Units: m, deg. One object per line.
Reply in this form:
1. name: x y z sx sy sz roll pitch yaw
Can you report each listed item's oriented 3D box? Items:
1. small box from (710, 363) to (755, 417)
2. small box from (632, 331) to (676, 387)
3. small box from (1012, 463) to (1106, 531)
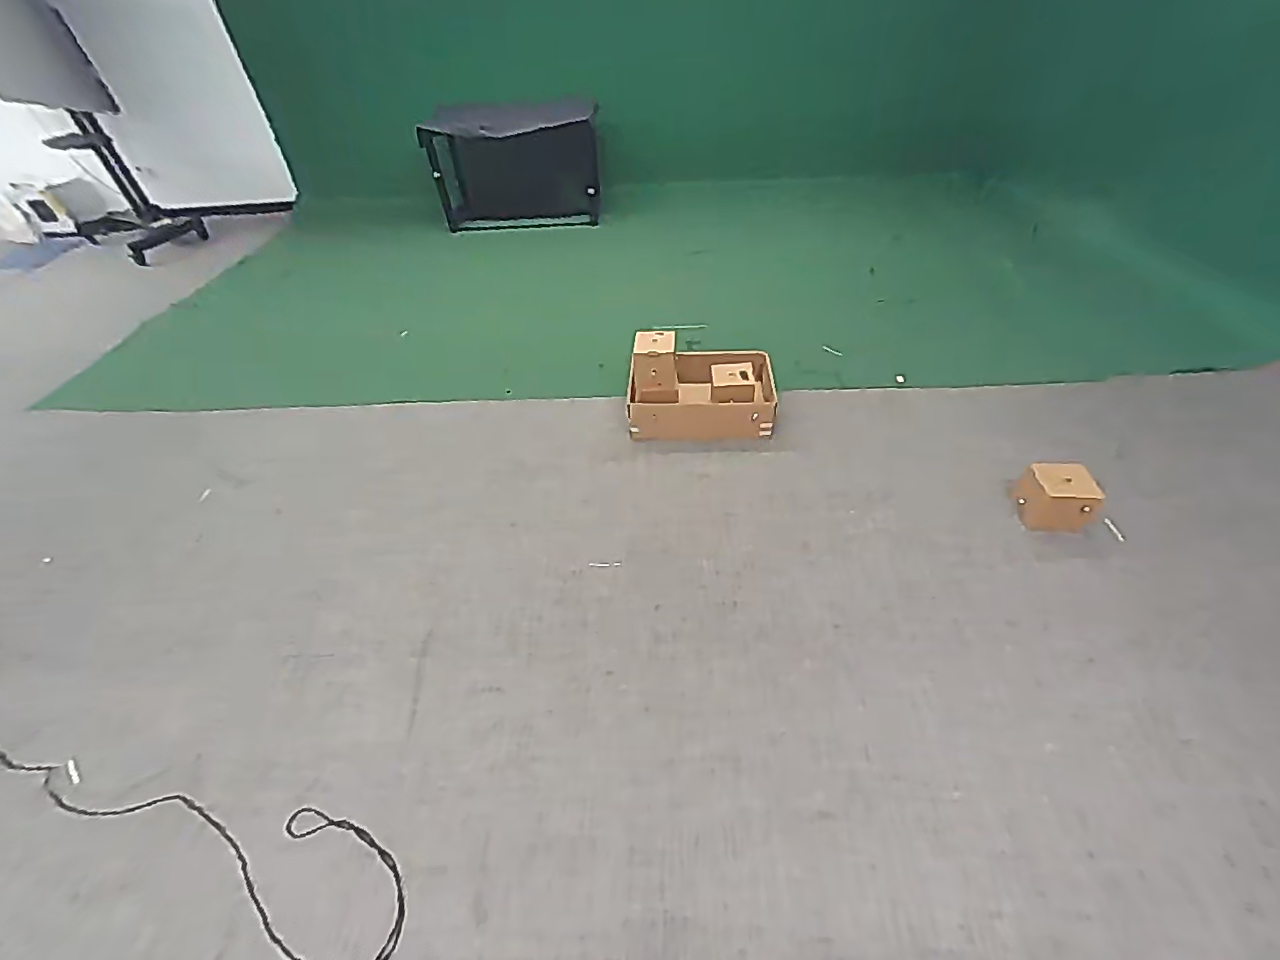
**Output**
1. small box: 0.395 -0.386 2.331 0.179 0.176 0.168 -1 45 5
2. small box: 0.062 -0.499 2.238 0.168 0.176 0.179 1 45 5
3. small box: 1.435 0.062 1.865 0.179 0.176 0.168 2 44 7
